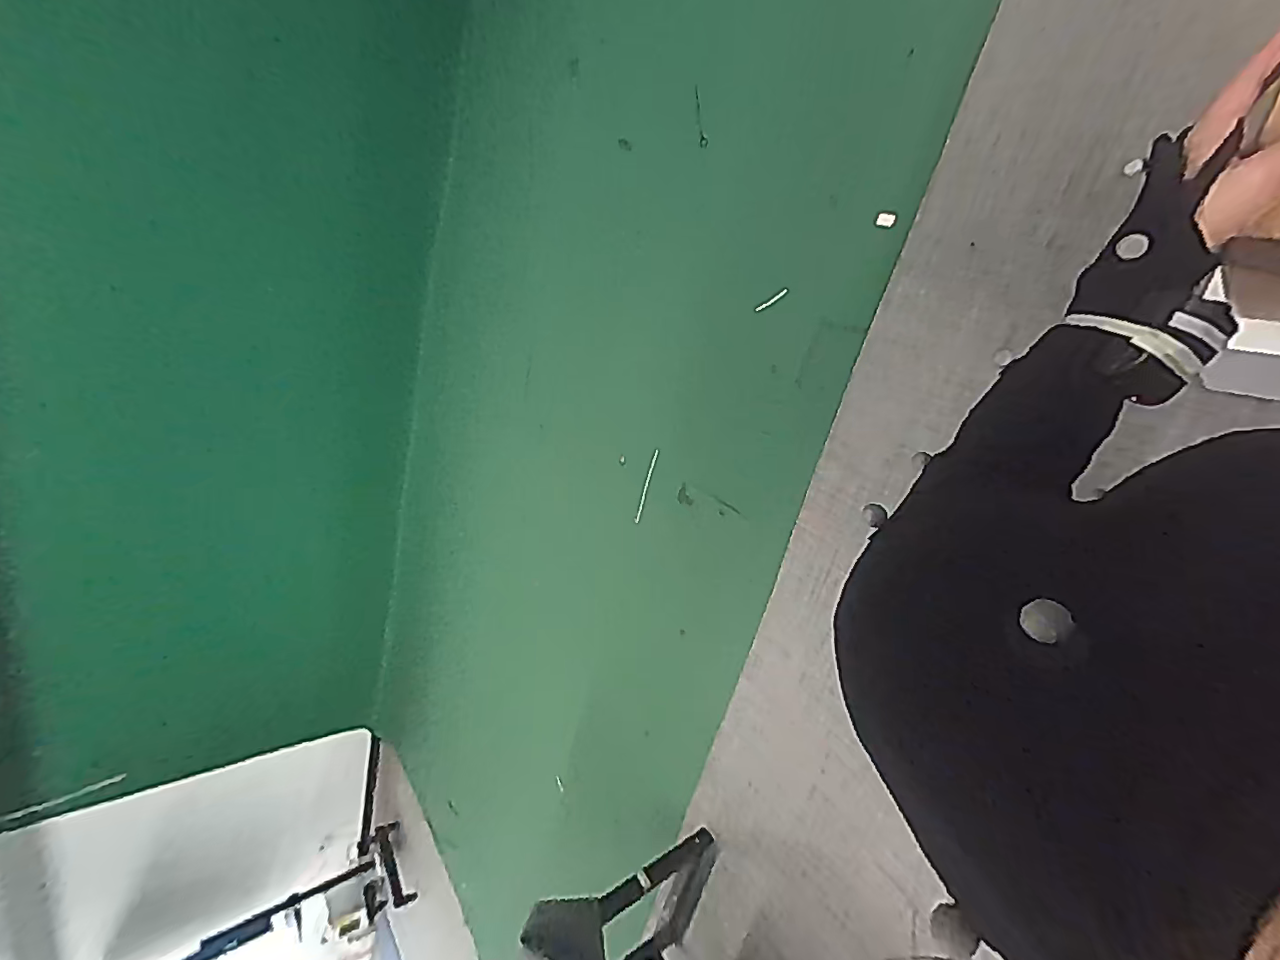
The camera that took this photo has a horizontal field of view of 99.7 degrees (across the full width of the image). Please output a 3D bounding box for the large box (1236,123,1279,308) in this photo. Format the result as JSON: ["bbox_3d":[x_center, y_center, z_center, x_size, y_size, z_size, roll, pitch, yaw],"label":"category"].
[{"bbox_3d":[0.654,-0.258,0.278,0.408,0.320,0.320,26,112,43],"label":"large box"}]
